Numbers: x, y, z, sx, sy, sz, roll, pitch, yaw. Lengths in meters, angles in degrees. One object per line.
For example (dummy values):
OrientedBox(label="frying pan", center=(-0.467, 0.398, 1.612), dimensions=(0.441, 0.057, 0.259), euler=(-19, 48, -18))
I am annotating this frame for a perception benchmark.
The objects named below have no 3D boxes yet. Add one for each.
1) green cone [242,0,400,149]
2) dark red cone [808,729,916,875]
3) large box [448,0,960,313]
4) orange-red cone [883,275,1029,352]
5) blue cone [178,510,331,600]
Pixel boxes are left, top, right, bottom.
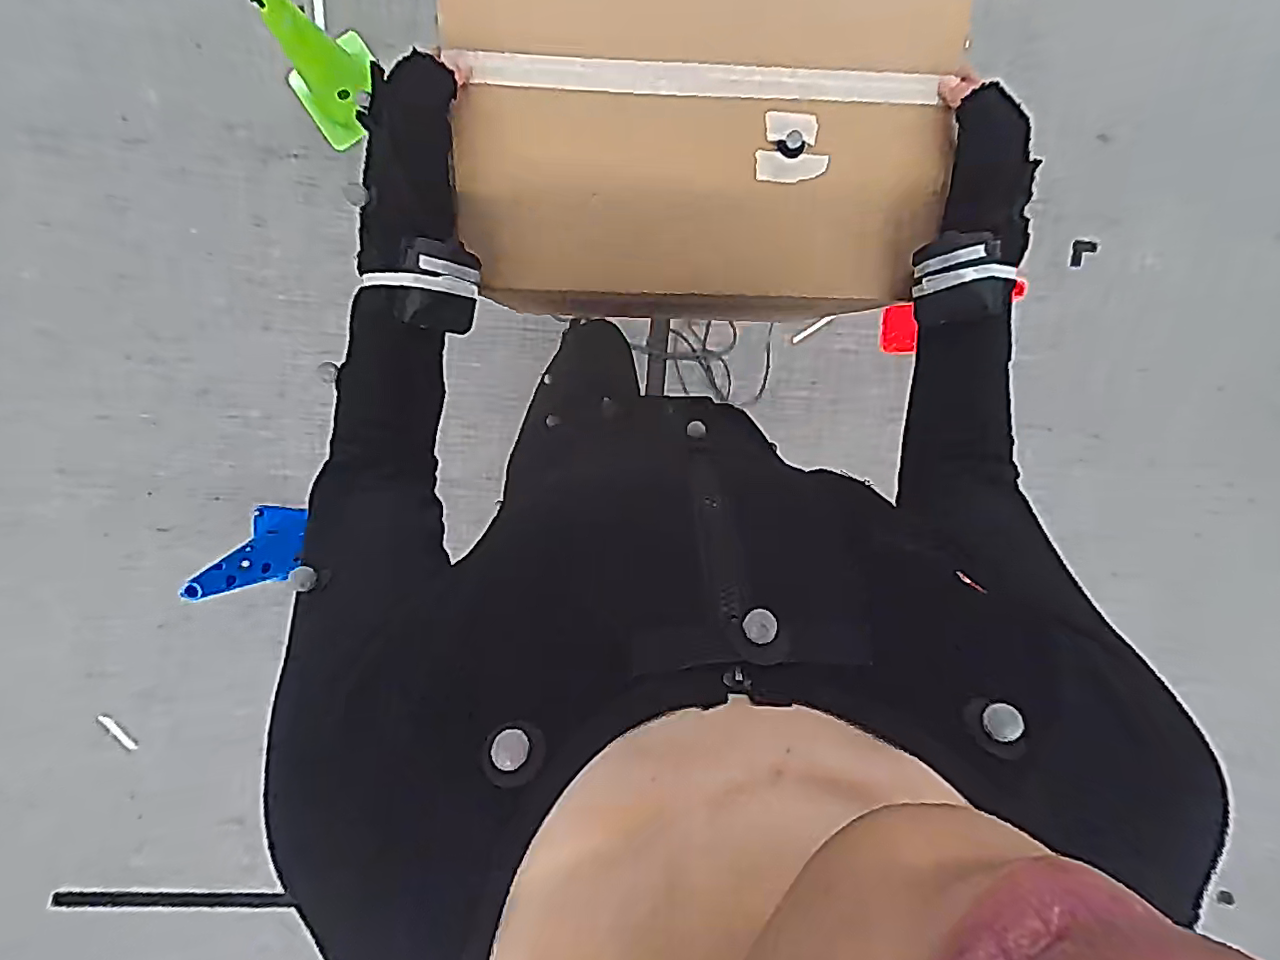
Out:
OrientedBox(label="green cone", center=(-0.693, -0.896, 1.111), dimensions=(0.202, 0.368, 0.200), euler=(-34, 98, 3))
OrientedBox(label="dark red cone", center=(0.612, 0.859, 1.433), dimensions=(0.201, 0.394, 0.202), euler=(9, 98, -4))
OrientedBox(label="large box", center=(0.041, -0.351, 0.571), dimensions=(0.408, 0.320, 0.320), euler=(0, 103, -5))
OrientedBox(label="orange-red cone", center=(0.761, -0.423, 1.275), dimensions=(0.198, 0.360, 0.199), euler=(0, 97, -5))
OrientedBox(label="blue cone", center=(-0.916, 0.201, 1.279), dimensions=(0.192, 0.380, 0.193), euler=(6, 98, -3))
